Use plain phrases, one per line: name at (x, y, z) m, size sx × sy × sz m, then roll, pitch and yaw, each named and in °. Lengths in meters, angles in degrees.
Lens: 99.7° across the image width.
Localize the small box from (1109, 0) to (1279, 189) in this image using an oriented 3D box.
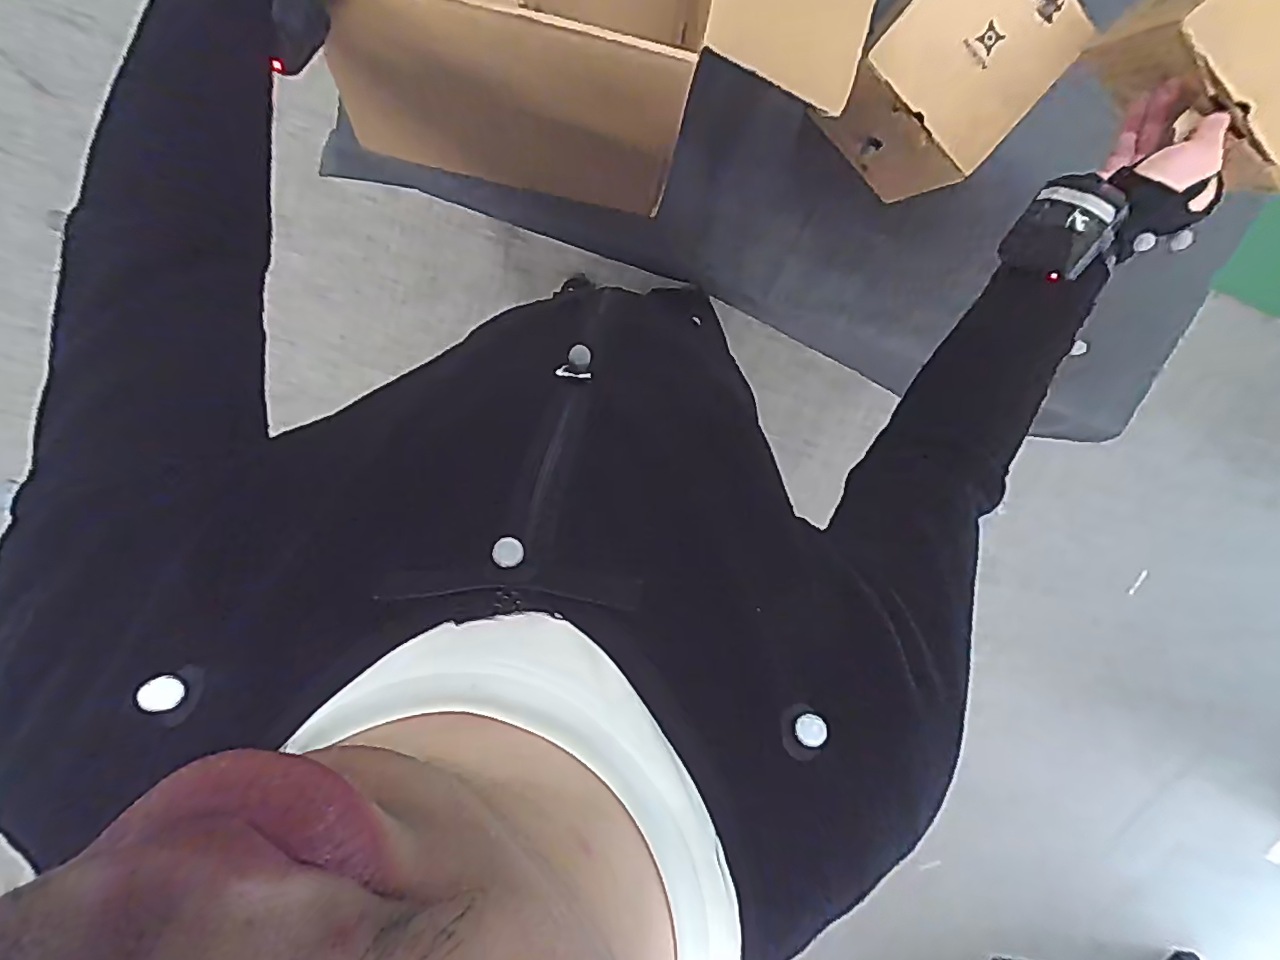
small box at (0.511, -0.359, 0.412) m, size 0.168 × 0.176 × 0.179 m, roll 41°, pitch 125°, yaw -12°
